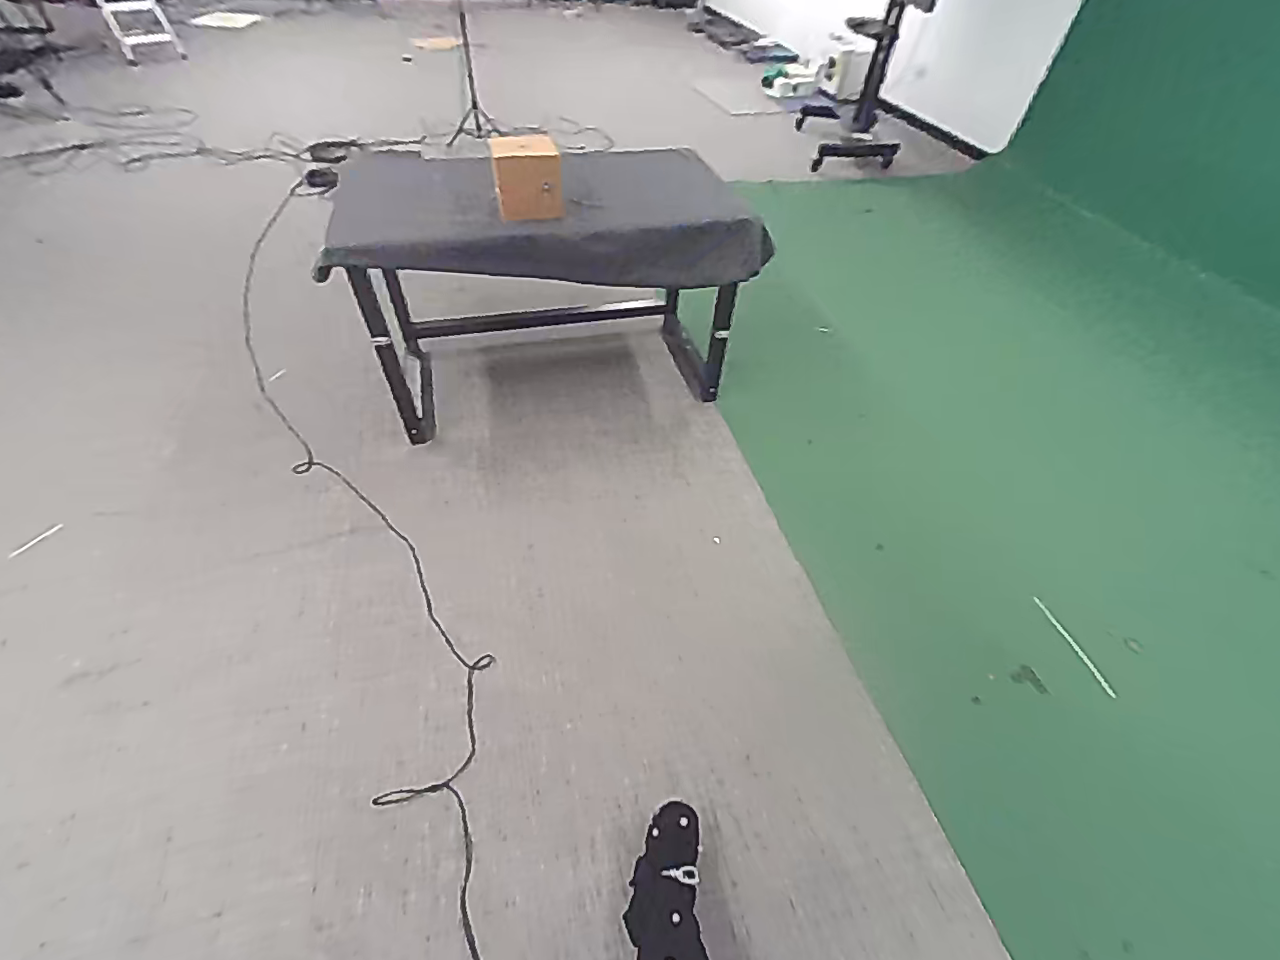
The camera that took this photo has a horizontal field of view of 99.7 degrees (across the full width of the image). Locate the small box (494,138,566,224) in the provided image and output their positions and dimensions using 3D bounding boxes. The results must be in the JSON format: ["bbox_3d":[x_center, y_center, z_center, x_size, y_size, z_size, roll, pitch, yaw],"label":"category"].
[{"bbox_3d":[-0.309,-0.851,1.542,0.179,0.176,0.168,-11,49,-11],"label":"small box"}]
